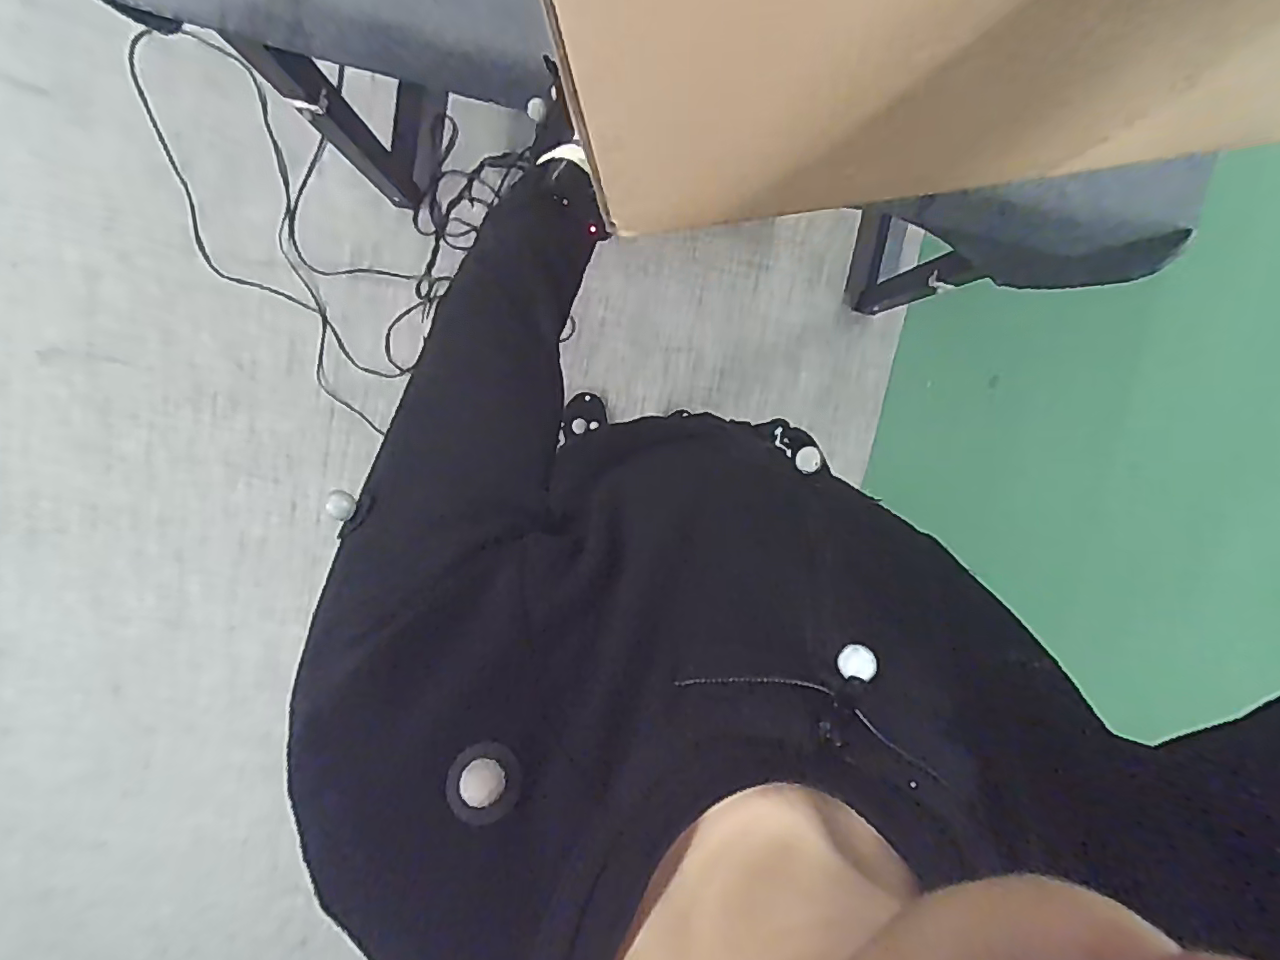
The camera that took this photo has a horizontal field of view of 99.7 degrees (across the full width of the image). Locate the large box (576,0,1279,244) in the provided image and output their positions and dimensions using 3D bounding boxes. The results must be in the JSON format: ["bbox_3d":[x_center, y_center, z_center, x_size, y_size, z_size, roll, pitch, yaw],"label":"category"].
[{"bbox_3d":[0.161,-0.357,0.224,0.408,0.320,0.320,-6,62,10],"label":"large box"}]
